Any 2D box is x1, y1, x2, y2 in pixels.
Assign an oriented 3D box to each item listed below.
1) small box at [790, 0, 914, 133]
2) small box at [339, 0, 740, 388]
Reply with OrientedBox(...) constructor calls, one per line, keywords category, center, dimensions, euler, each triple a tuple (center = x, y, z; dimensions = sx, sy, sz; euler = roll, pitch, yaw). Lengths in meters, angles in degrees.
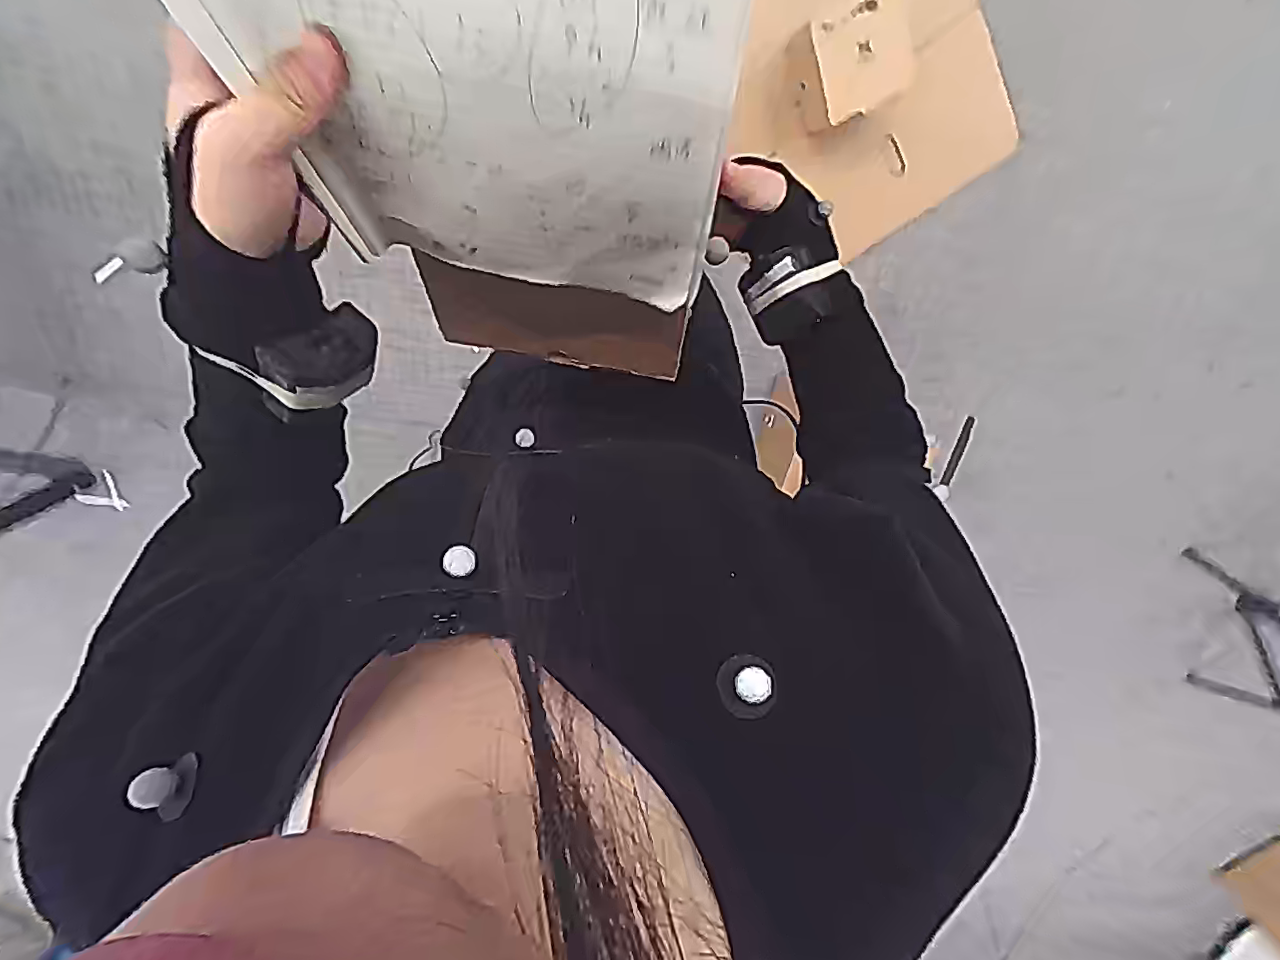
OrientedBox(category="small box", center=(0.408, -0.804, 1.055), dimensions=(0.168, 0.176, 0.179), euler=(-19, 118, 10))
OrientedBox(category="small box", center=(-0.039, -0.186, 0.329), dimensions=(0.168, 0.176, 0.179), euler=(10, 151, 1))
